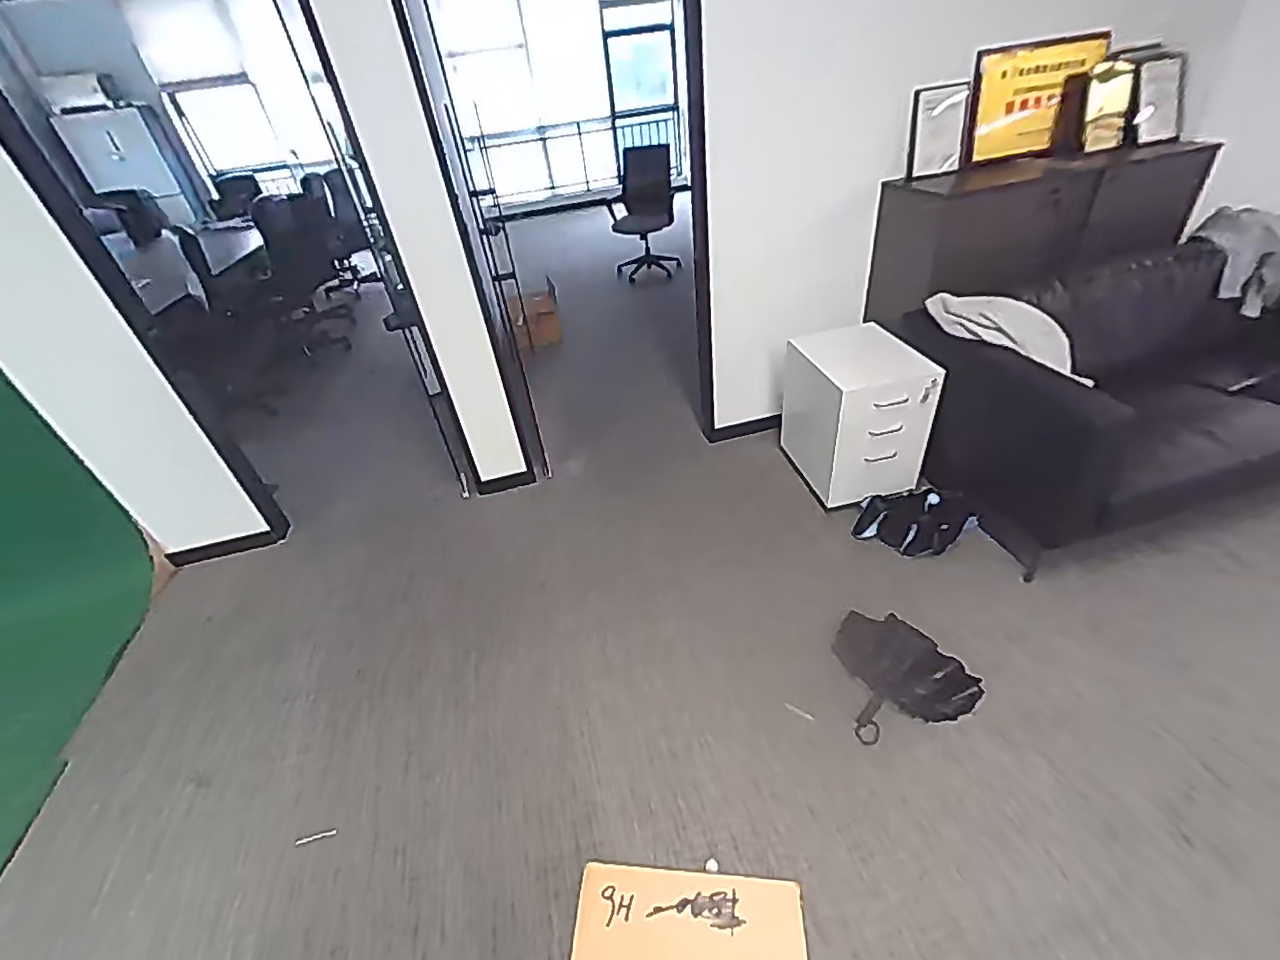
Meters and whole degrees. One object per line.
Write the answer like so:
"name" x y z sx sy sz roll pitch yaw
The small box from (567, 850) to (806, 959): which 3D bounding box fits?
"small box" 0.030 0.407 0.400 0.168 0.176 0.179 3 41 4
